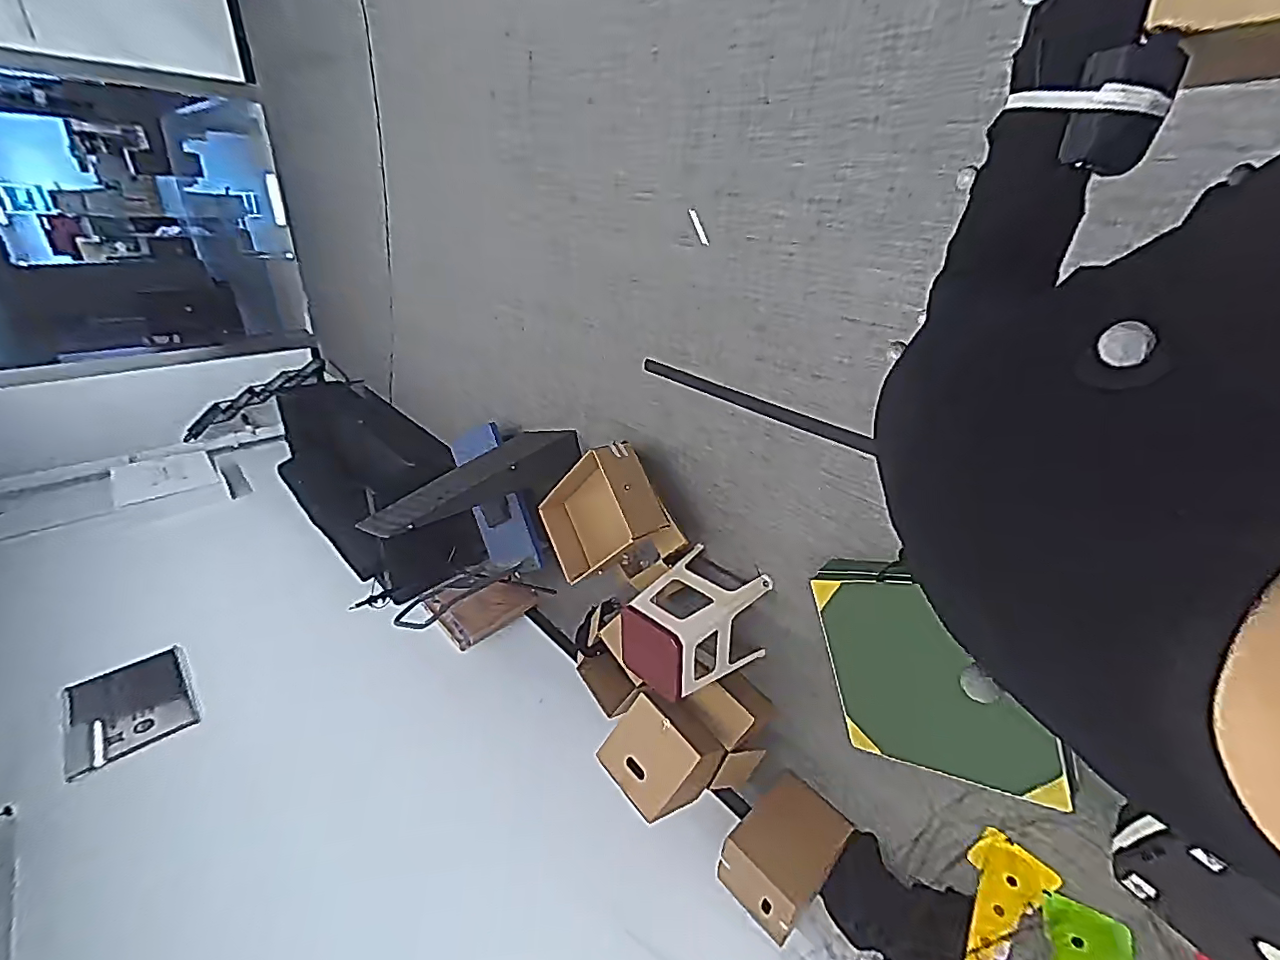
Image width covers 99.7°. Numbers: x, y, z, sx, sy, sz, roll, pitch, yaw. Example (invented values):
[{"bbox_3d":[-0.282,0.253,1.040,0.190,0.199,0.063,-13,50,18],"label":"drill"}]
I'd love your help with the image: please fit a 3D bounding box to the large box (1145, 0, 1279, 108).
[{"bbox_3d":[0.554,-0.401,0.251,0.408,0.320,0.320,20,125,38],"label":"large box"}]
